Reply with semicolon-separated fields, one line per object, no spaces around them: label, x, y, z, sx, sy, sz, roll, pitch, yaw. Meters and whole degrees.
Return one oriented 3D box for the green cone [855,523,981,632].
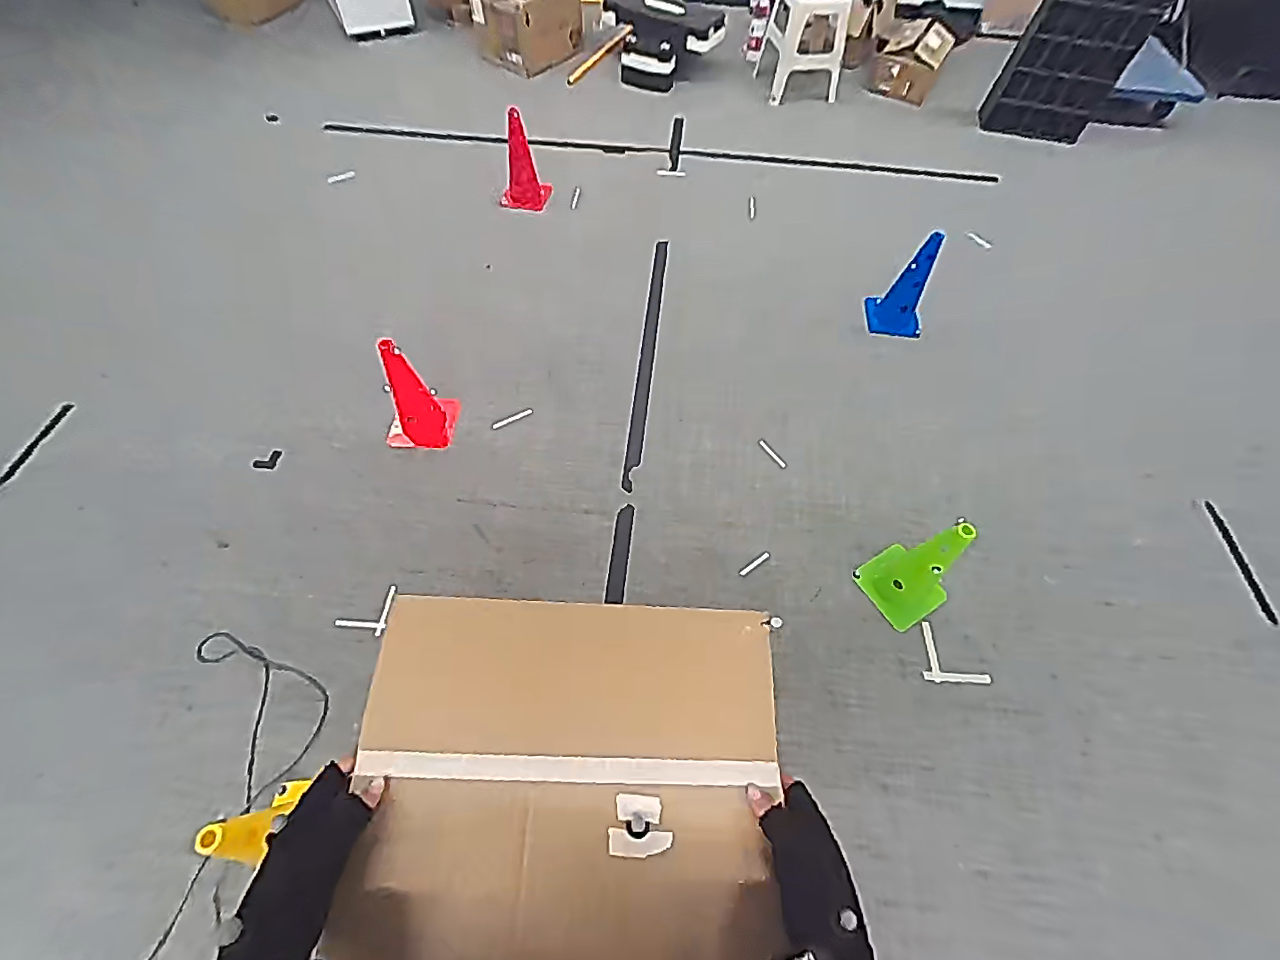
green cone;0.743;0.213;1.376;0.202;0.368;0.200;-27;64;-19

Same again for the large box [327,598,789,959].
large box;-0.074;0.338;0.657;0.408;0.320;0.320;3;66;-2

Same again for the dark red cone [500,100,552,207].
dark red cone;-0.499;-1.376;2.279;0.201;0.394;0.202;11;59;3

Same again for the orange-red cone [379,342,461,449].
orange-red cone;-0.695;-0.271;1.622;0.198;0.360;0.199;3;60;1

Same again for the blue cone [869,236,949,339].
blue cone;1.003;-0.712;1.975;0.192;0.380;0.193;9;59;2
